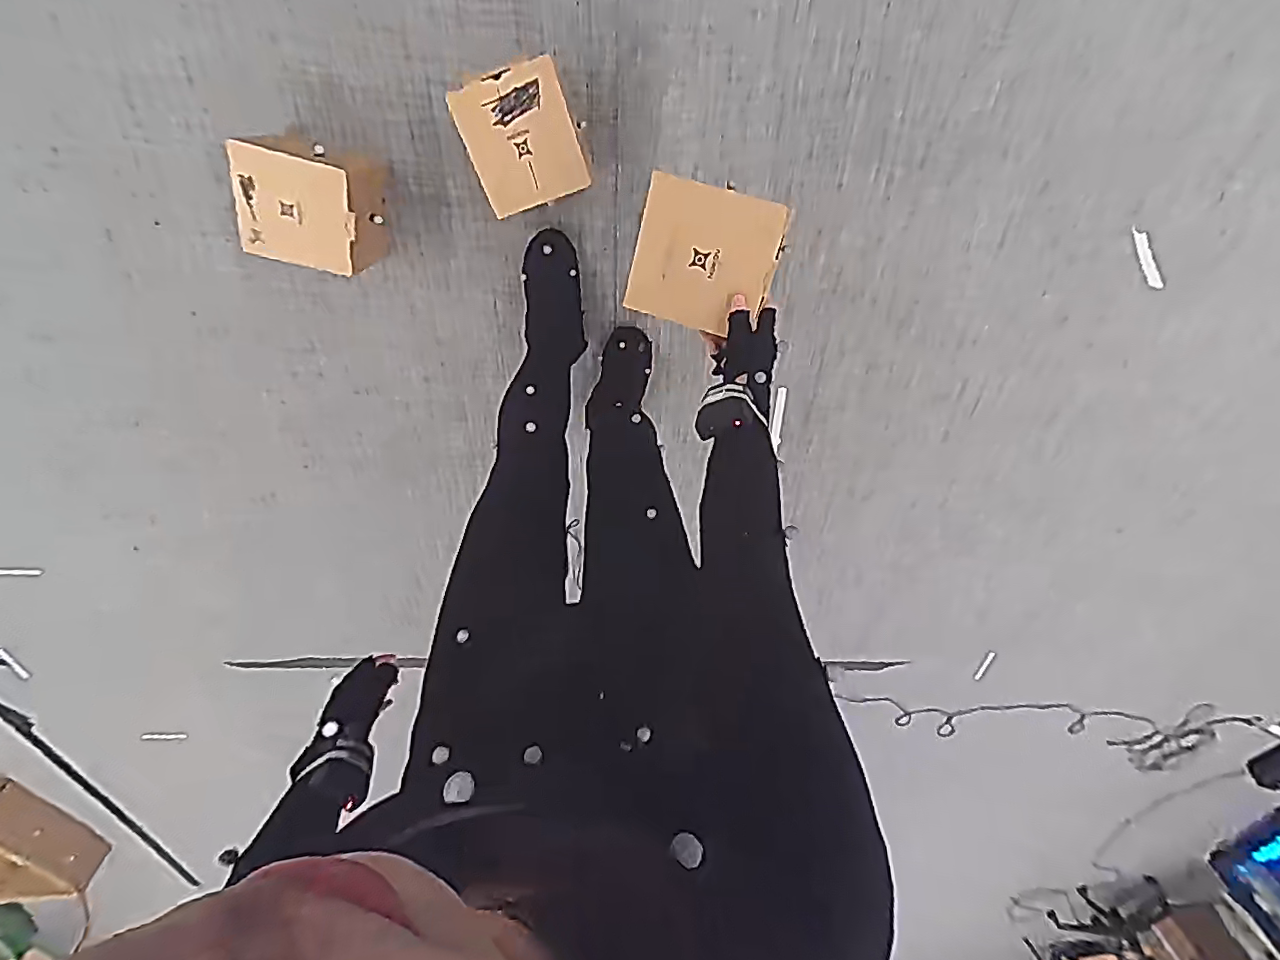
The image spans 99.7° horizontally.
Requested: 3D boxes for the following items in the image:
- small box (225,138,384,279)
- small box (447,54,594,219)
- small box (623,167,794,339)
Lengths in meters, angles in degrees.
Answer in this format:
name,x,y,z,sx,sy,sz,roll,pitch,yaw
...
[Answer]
name,x,y,z,sx,sy,sz,roll,pitch,yaw
small box,-0.548,-0.463,0.914,0.179,0.176,0.168,11,123,-10
small box,-0.179,-0.546,0.870,0.168,0.176,0.179,-15,124,8
small box,0.096,-0.306,0.739,0.179,0.176,0.168,18,115,6
